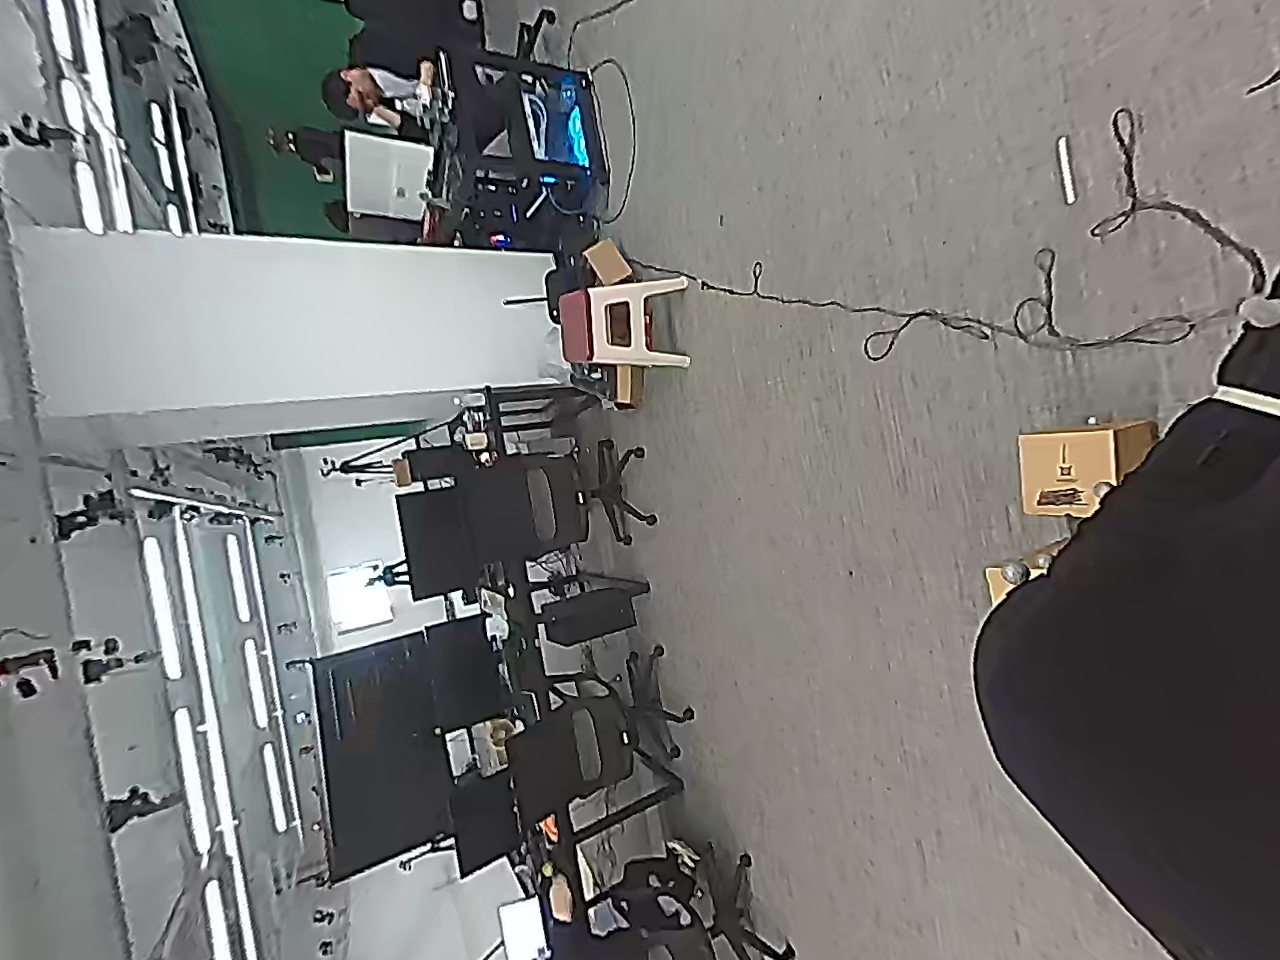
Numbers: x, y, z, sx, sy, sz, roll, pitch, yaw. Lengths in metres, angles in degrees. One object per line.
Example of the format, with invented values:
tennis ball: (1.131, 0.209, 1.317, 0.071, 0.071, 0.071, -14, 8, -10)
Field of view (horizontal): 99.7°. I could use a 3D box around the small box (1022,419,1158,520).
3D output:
small box: (0.923, -0.025, 1.108, 0.168, 0.176, 0.179, 2, 100, 61)
